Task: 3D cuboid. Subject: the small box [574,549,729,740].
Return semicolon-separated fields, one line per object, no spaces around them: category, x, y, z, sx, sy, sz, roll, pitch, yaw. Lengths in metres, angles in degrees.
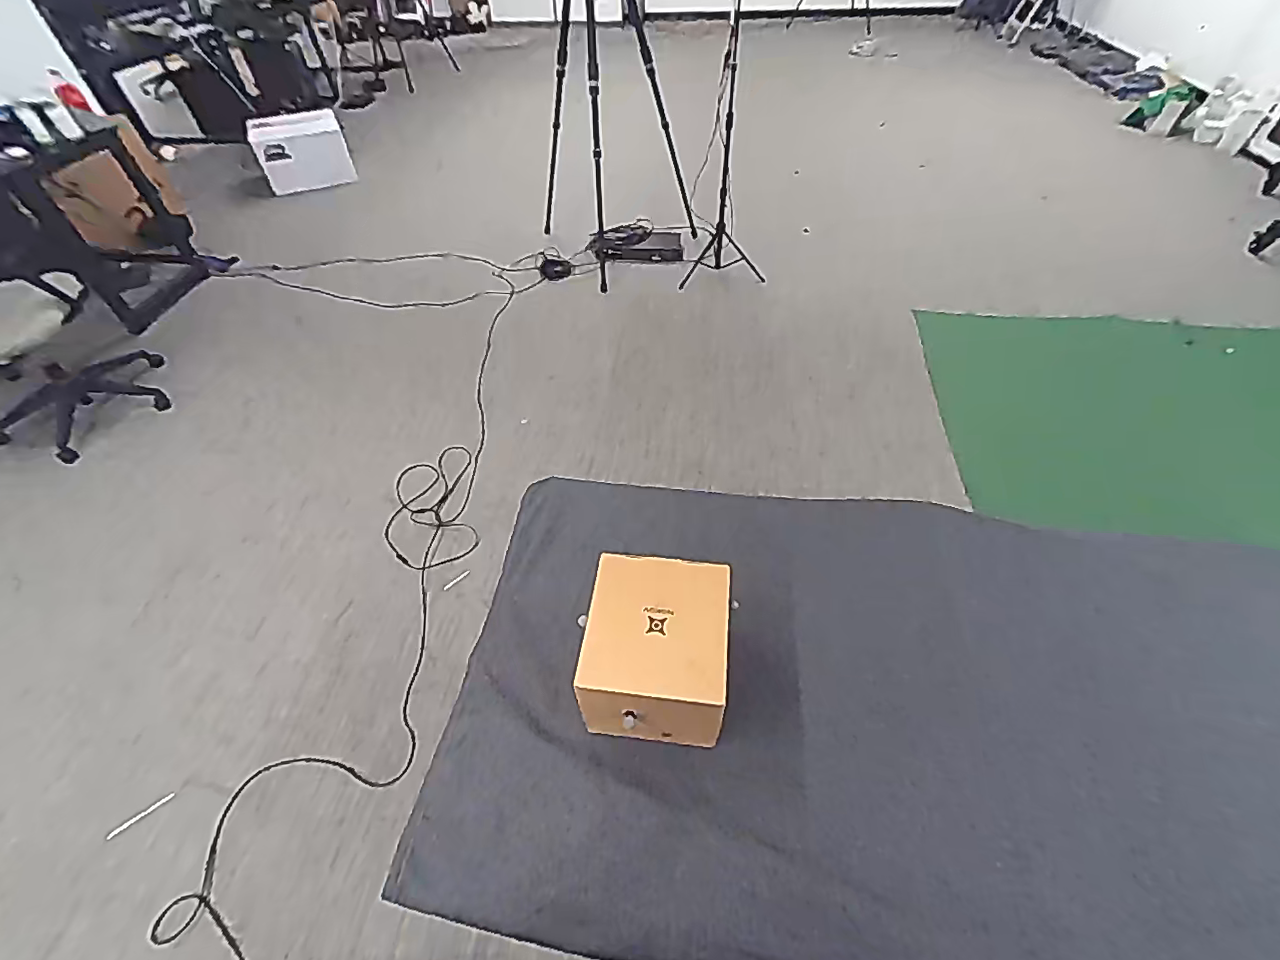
small box;0.023;0.212;0.687;0.168;0.176;0.179;5;49;6
